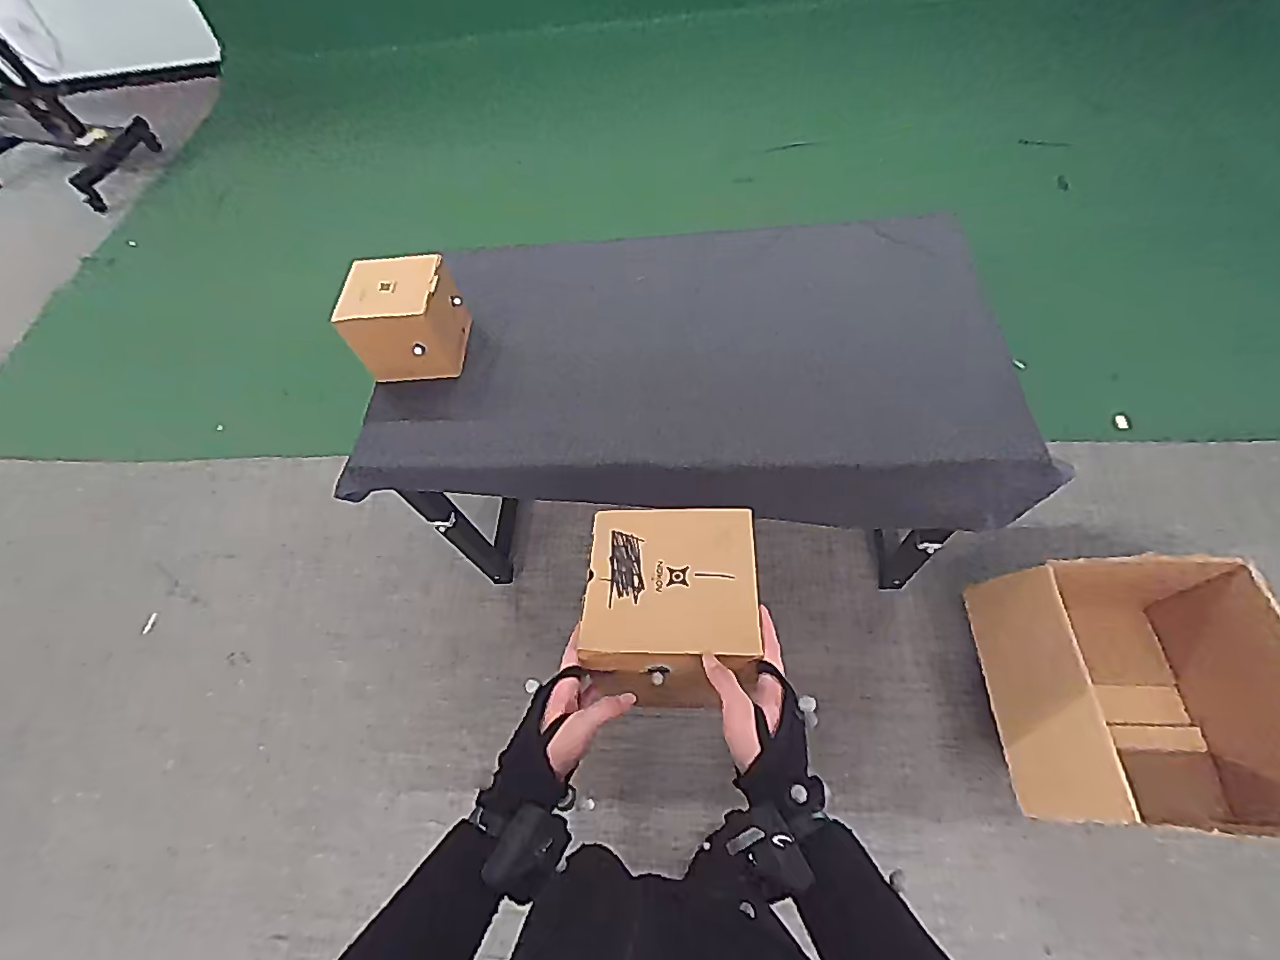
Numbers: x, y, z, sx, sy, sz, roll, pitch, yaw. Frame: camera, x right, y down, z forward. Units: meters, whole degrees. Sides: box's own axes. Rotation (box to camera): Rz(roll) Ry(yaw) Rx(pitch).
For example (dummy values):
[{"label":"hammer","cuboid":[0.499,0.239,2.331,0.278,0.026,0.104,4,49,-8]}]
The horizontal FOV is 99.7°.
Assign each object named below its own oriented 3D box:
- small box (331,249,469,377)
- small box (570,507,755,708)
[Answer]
[{"label":"small box","cuboid":[-0.451,-0.319,1.050,0.179,0.176,0.168,-4,59,5]},{"label":"small box","cuboid":[0.038,0.146,0.608,0.179,0.176,0.168,1,53,10]}]
